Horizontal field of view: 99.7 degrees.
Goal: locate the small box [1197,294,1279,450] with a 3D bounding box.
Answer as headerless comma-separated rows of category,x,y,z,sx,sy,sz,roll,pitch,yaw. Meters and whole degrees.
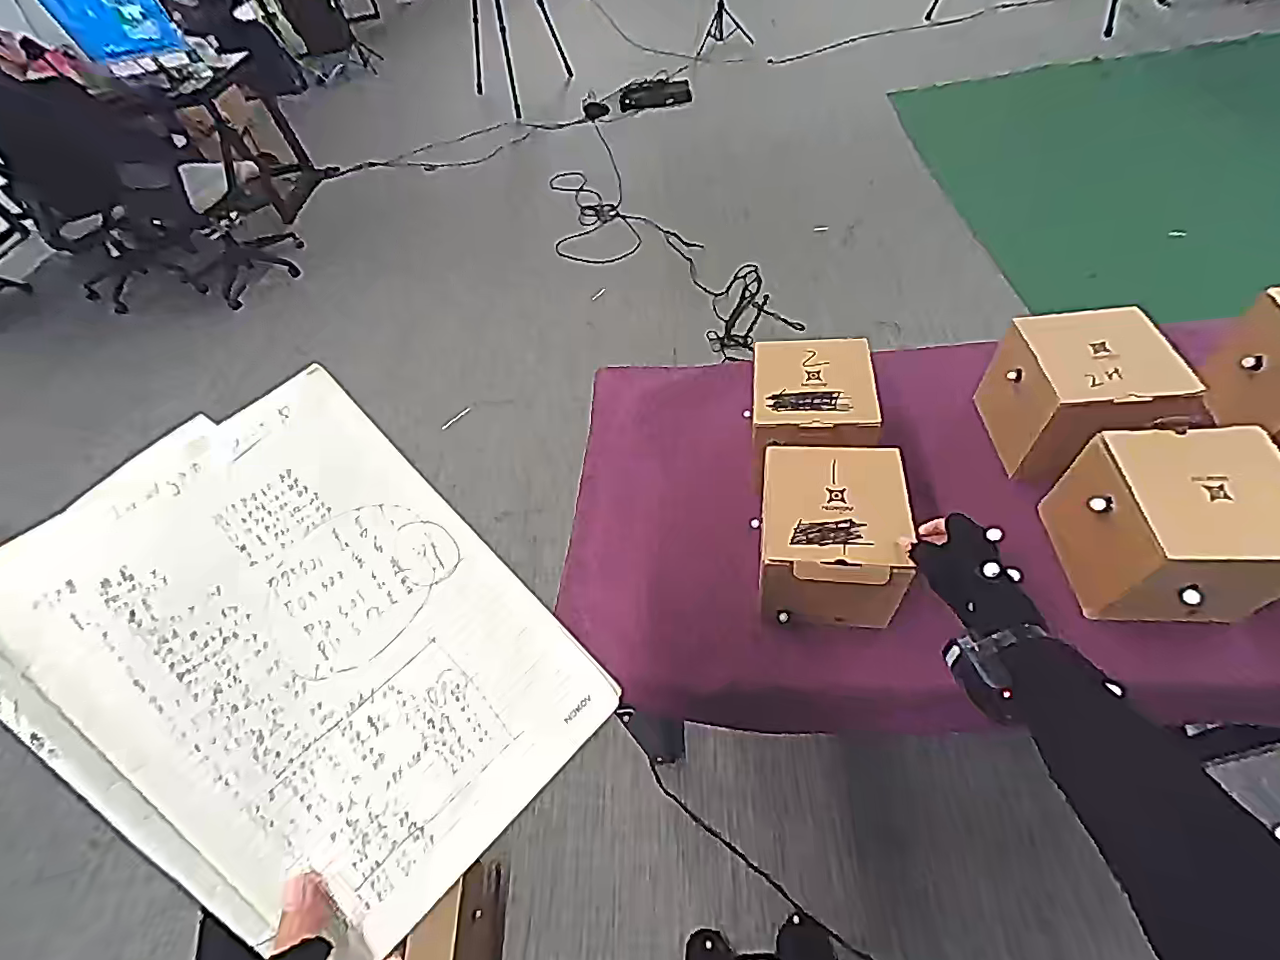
small box,0.938,-0.135,0.740,0.168,0.176,0.179,1,54,11

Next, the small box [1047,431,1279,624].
small box,0.638,0.062,0.650,0.168,0.176,0.179,-1,55,10

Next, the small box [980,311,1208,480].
small box,0.628,-0.118,0.782,0.168,0.176,0.179,-3,54,8

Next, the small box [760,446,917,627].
small box,0.246,0.077,0.708,0.168,0.176,0.179,3,54,12
